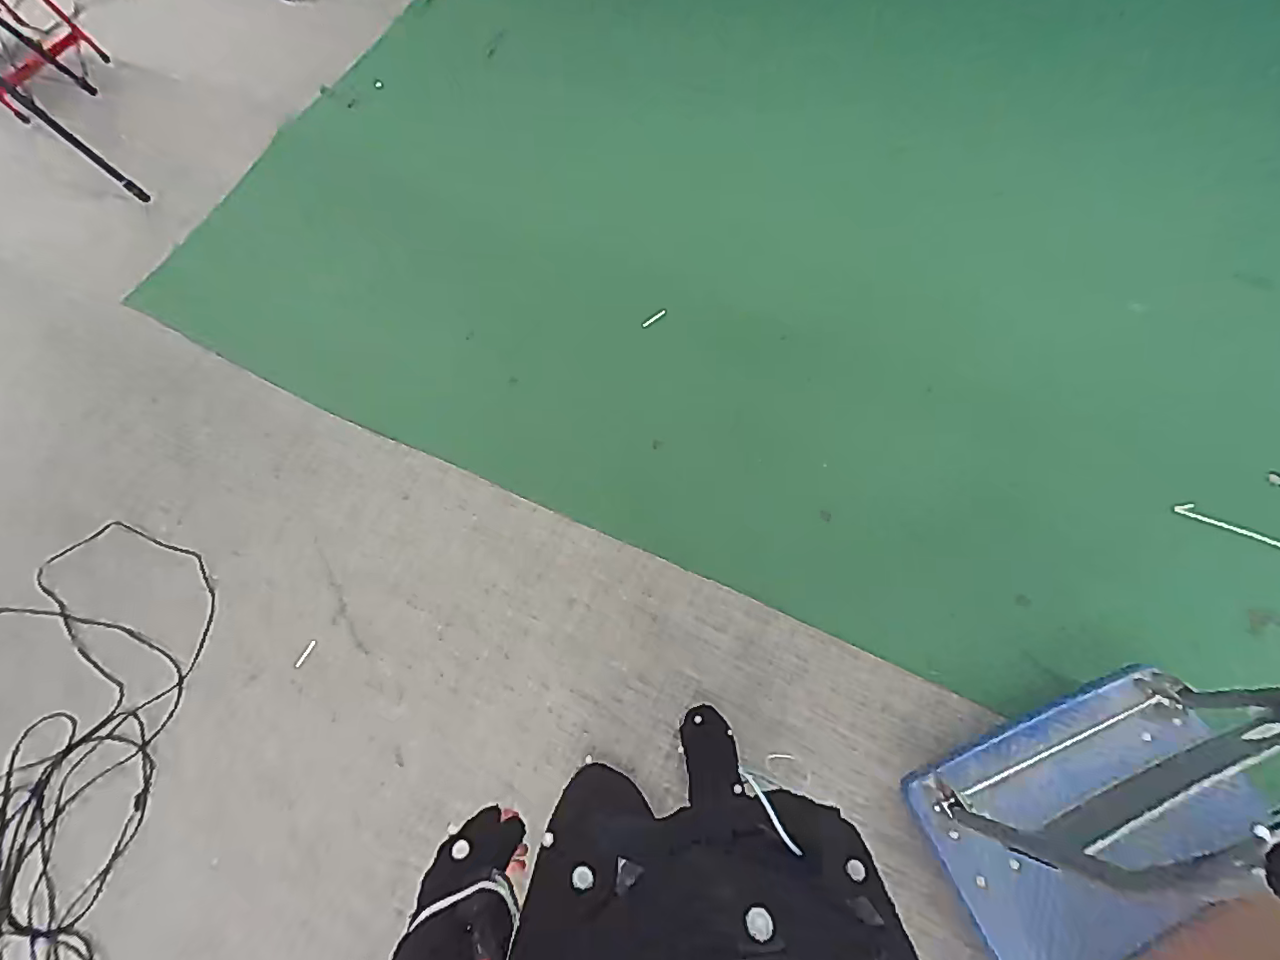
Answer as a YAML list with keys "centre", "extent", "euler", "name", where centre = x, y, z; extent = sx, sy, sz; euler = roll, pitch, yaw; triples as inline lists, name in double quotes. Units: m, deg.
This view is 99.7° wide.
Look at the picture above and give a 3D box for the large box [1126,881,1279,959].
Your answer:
- centre: [0.933, 0.855, 0.736]
  extent: [0.408, 0.320, 0.320]
  euler: [-27, 69, -6]
  name: "large box"
